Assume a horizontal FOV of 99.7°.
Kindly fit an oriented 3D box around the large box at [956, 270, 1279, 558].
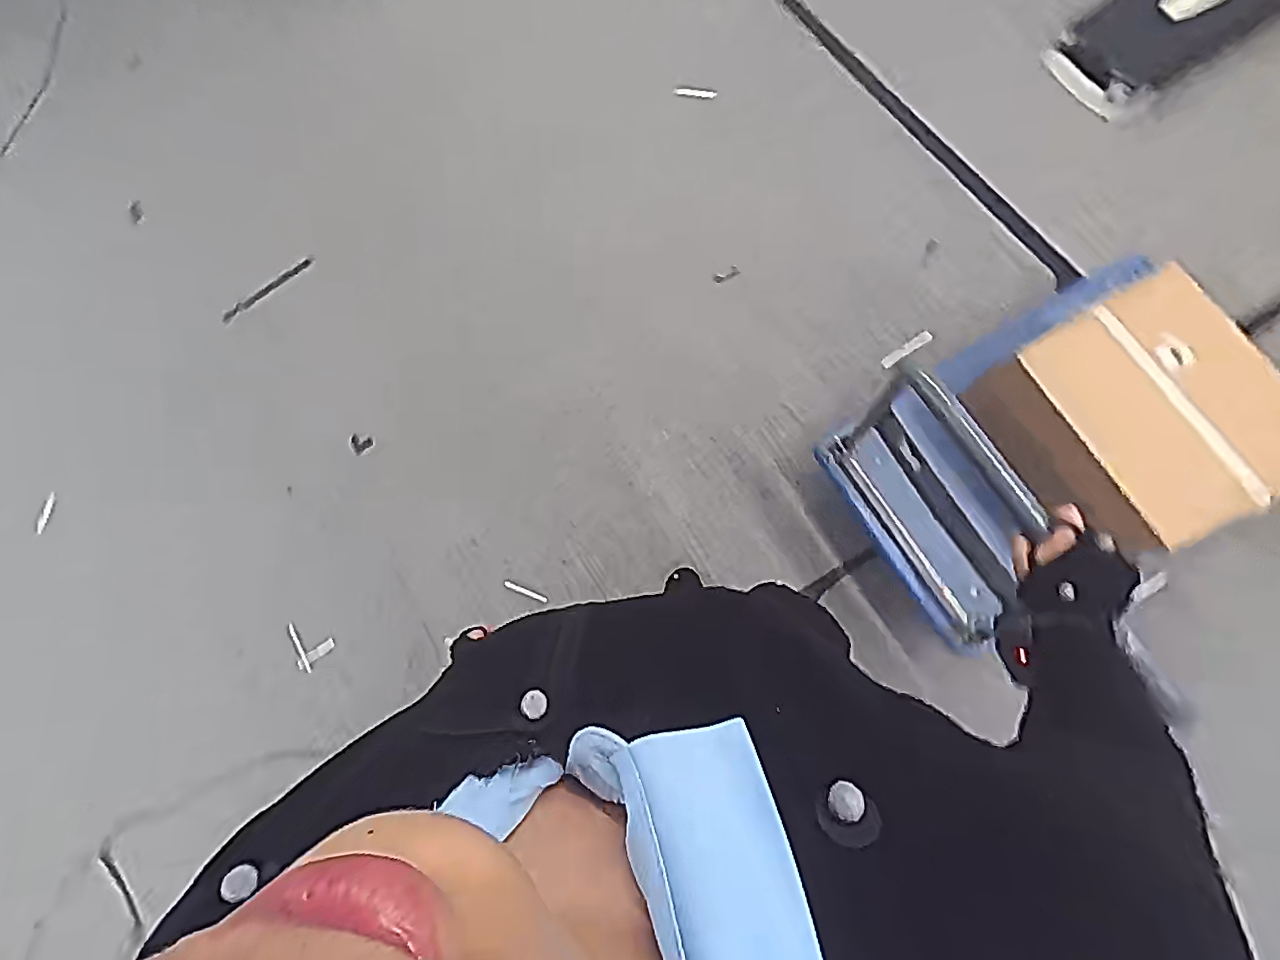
[{"bbox_3d":[0.919,-0.100,1.049,0.320,0.320,0.408,-29,75,4],"label":"large box"}]
